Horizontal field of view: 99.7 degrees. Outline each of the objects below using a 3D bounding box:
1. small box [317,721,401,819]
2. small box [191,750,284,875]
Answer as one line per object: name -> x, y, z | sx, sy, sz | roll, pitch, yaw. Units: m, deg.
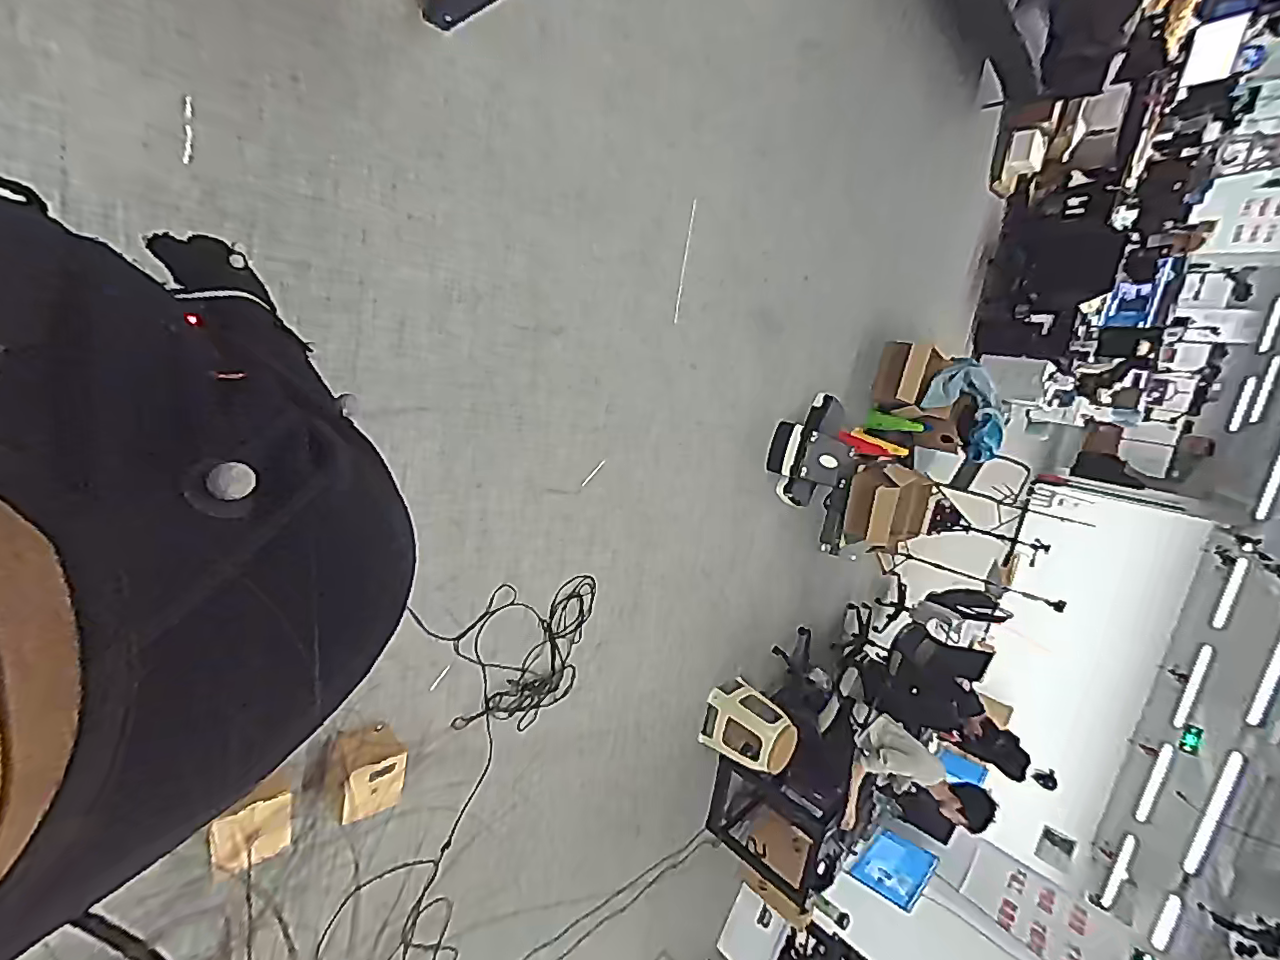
small box -> -0.835, 0.842, 1.600 | 0.168, 0.176, 0.179 | 2, 104, -48
small box -> -1.032, 0.839, 1.385 | 0.168, 0.176, 0.179 | -5, 108, -47
